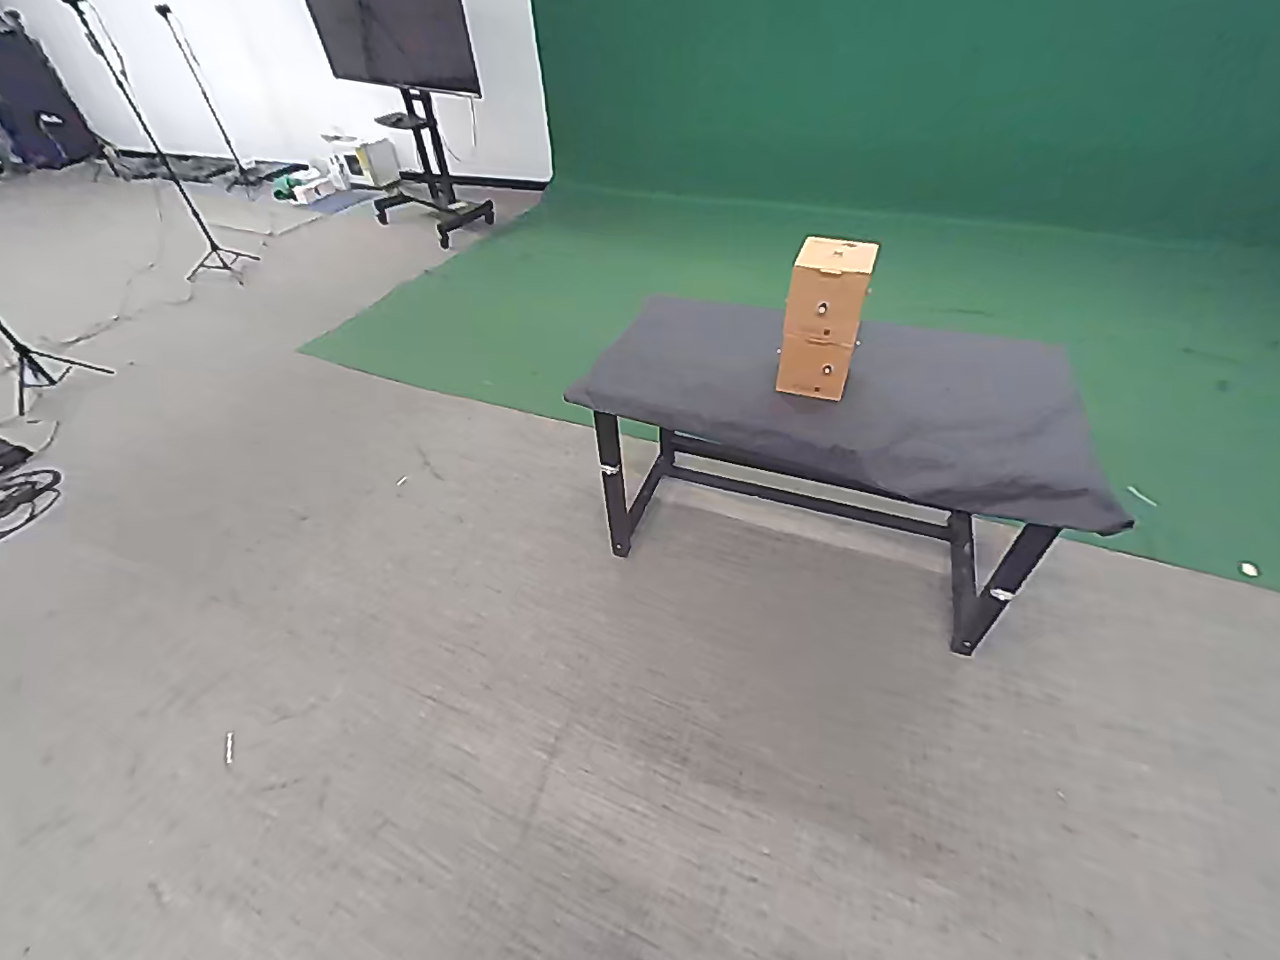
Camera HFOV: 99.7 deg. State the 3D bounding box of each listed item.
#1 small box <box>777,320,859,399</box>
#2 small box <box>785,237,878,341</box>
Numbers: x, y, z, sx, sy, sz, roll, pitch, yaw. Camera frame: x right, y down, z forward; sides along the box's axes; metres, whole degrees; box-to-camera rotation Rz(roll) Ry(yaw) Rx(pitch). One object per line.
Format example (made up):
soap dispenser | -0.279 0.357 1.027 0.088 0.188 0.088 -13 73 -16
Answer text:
small box | 0.459 -0.333 1.402 0.168 0.176 0.179 14 46 16
small box | 0.452 -0.454 1.292 0.168 0.176 0.179 16 49 17
